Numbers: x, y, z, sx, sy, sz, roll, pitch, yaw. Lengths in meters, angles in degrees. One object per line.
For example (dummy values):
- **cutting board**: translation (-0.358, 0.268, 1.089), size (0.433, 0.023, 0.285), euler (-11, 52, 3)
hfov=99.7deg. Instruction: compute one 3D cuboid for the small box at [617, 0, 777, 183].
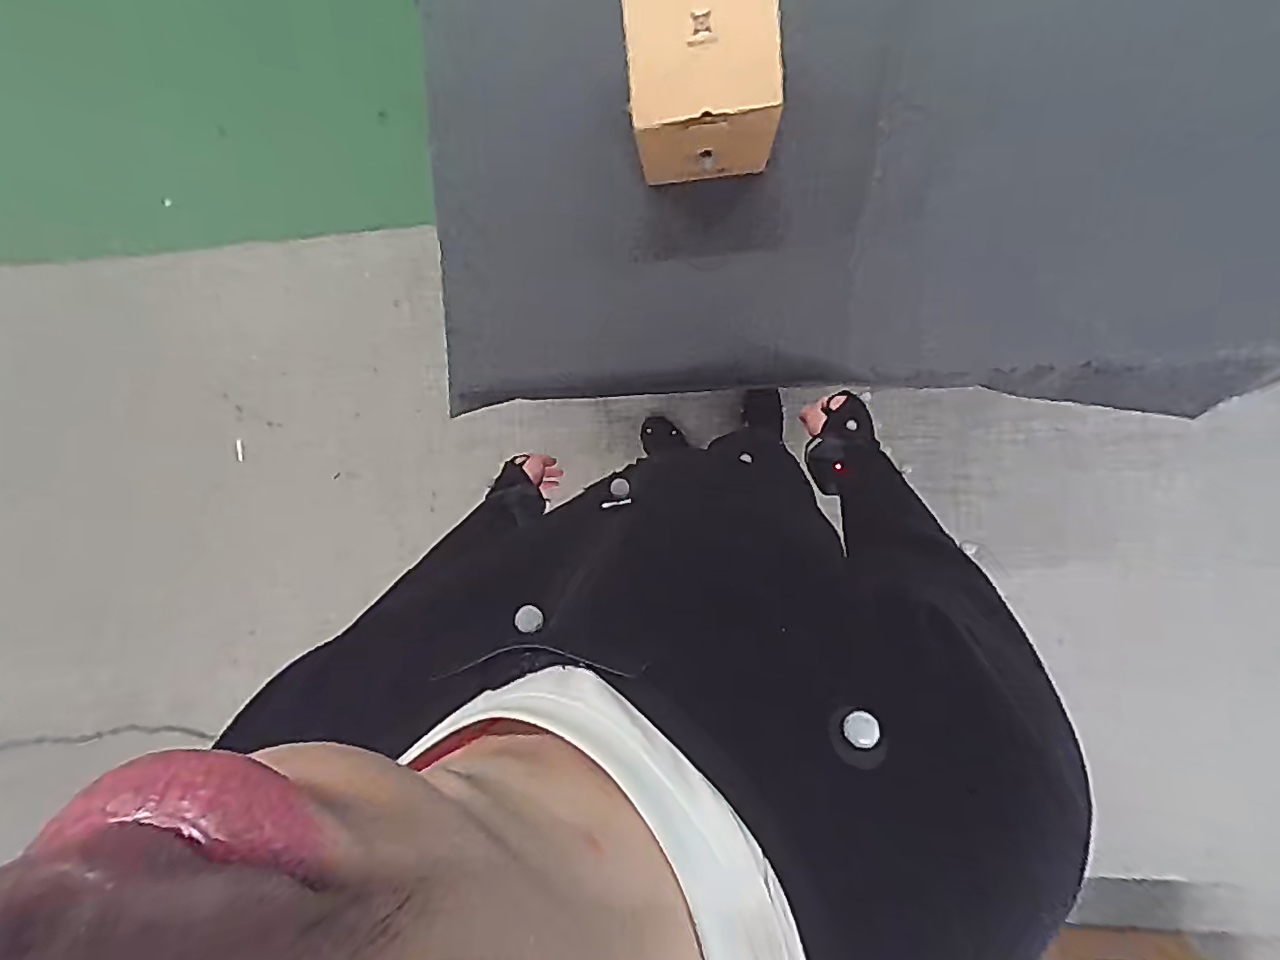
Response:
- **small box**: translation (0.073, -0.494, 0.672), size (0.168, 0.176, 0.179), euler (-7, 97, 8)
